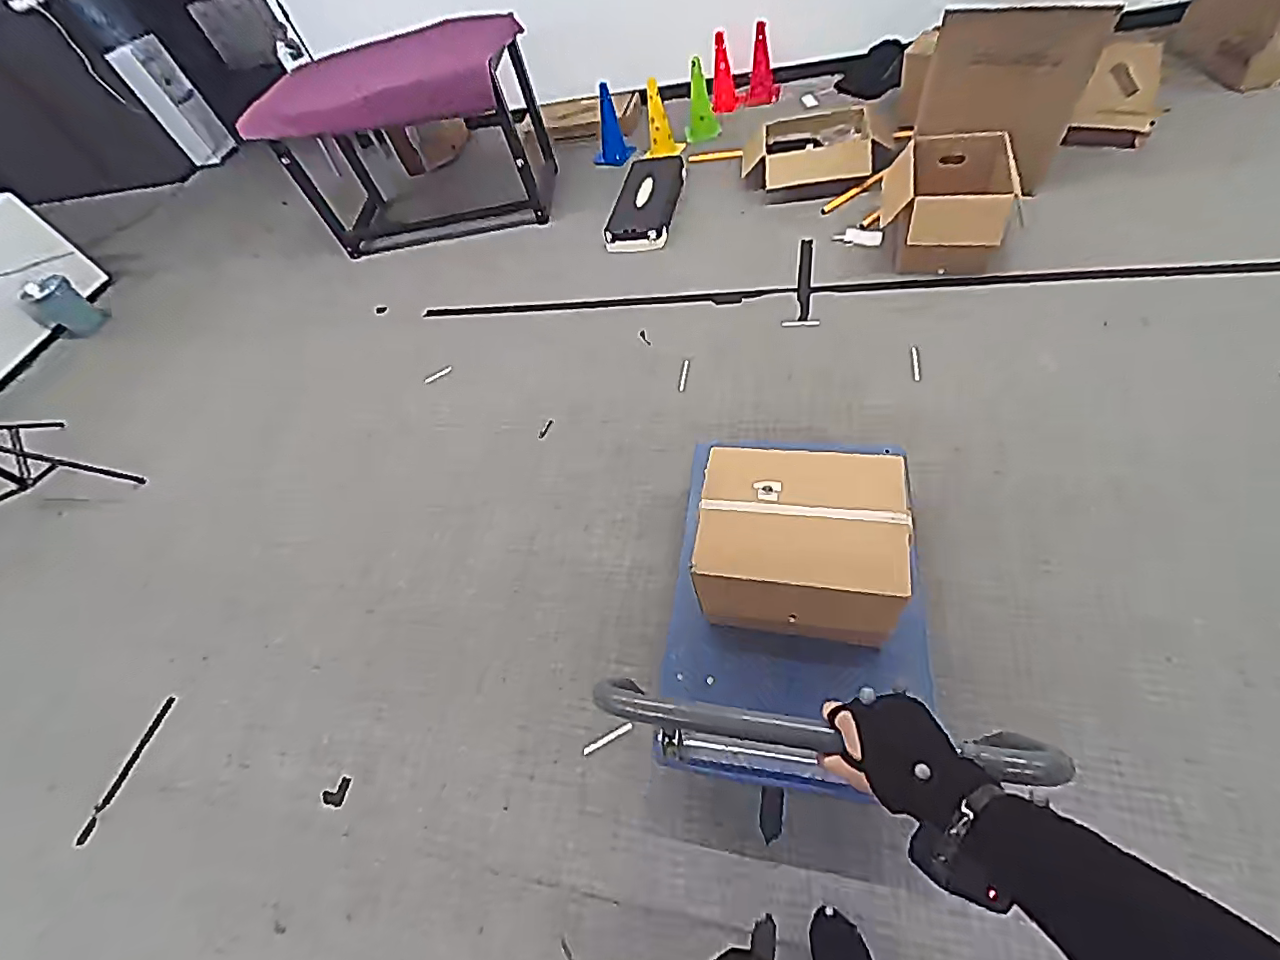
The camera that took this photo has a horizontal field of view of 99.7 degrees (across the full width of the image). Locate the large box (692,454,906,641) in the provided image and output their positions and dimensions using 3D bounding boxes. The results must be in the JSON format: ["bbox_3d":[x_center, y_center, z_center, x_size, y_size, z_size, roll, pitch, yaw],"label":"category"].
[{"bbox_3d":[0.356,0.155,1.236,0.408,0.320,0.320,3,57,17],"label":"large box"}]
